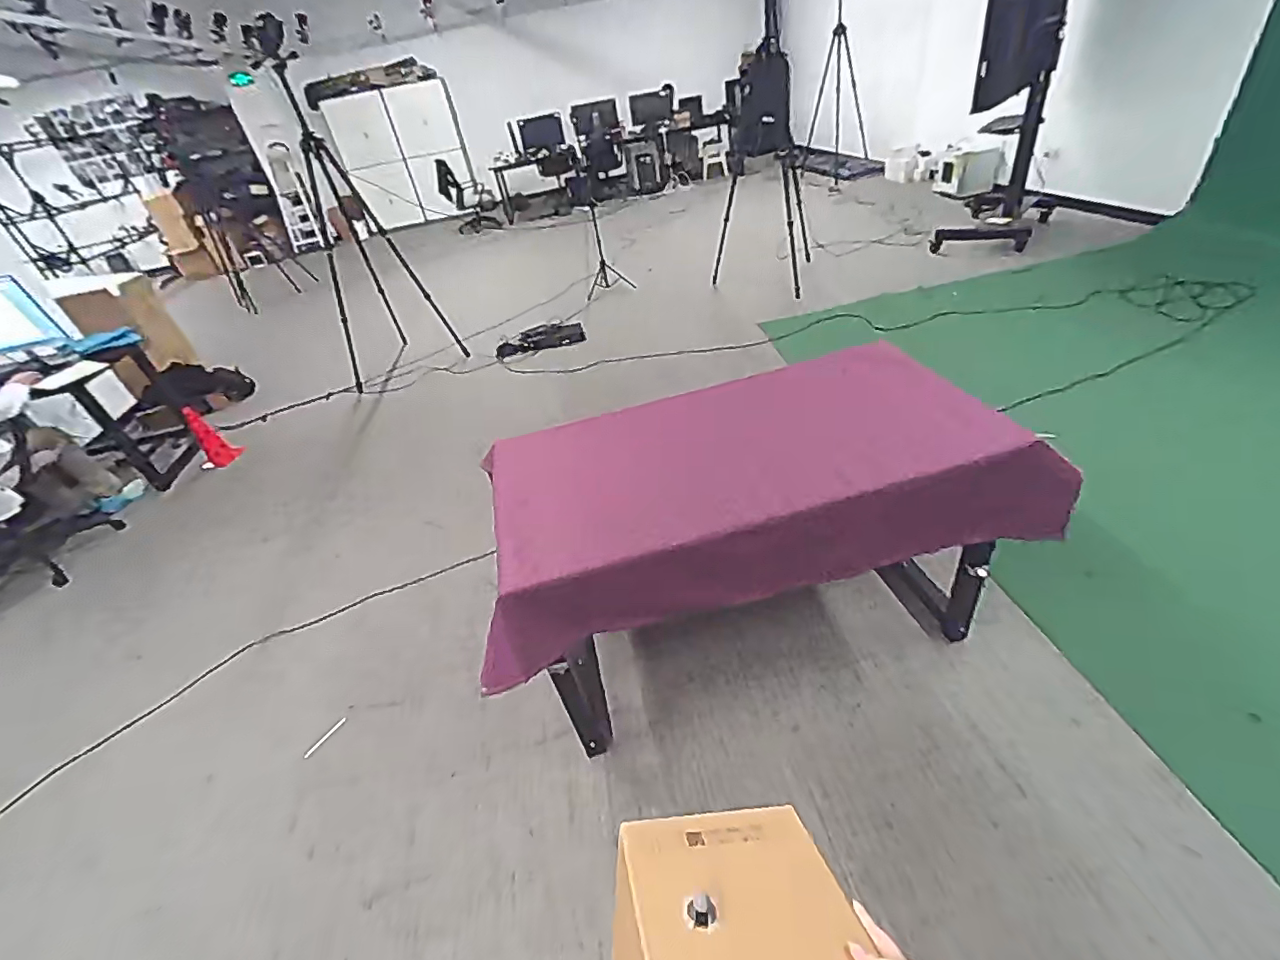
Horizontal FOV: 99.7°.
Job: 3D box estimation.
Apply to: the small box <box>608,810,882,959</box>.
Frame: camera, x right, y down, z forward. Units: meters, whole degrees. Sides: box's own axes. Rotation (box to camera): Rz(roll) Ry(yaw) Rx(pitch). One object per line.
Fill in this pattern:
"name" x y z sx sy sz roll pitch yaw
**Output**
"small box" 0.068 0.396 0.434 0.168 0.179 0.176 2 12 -11
